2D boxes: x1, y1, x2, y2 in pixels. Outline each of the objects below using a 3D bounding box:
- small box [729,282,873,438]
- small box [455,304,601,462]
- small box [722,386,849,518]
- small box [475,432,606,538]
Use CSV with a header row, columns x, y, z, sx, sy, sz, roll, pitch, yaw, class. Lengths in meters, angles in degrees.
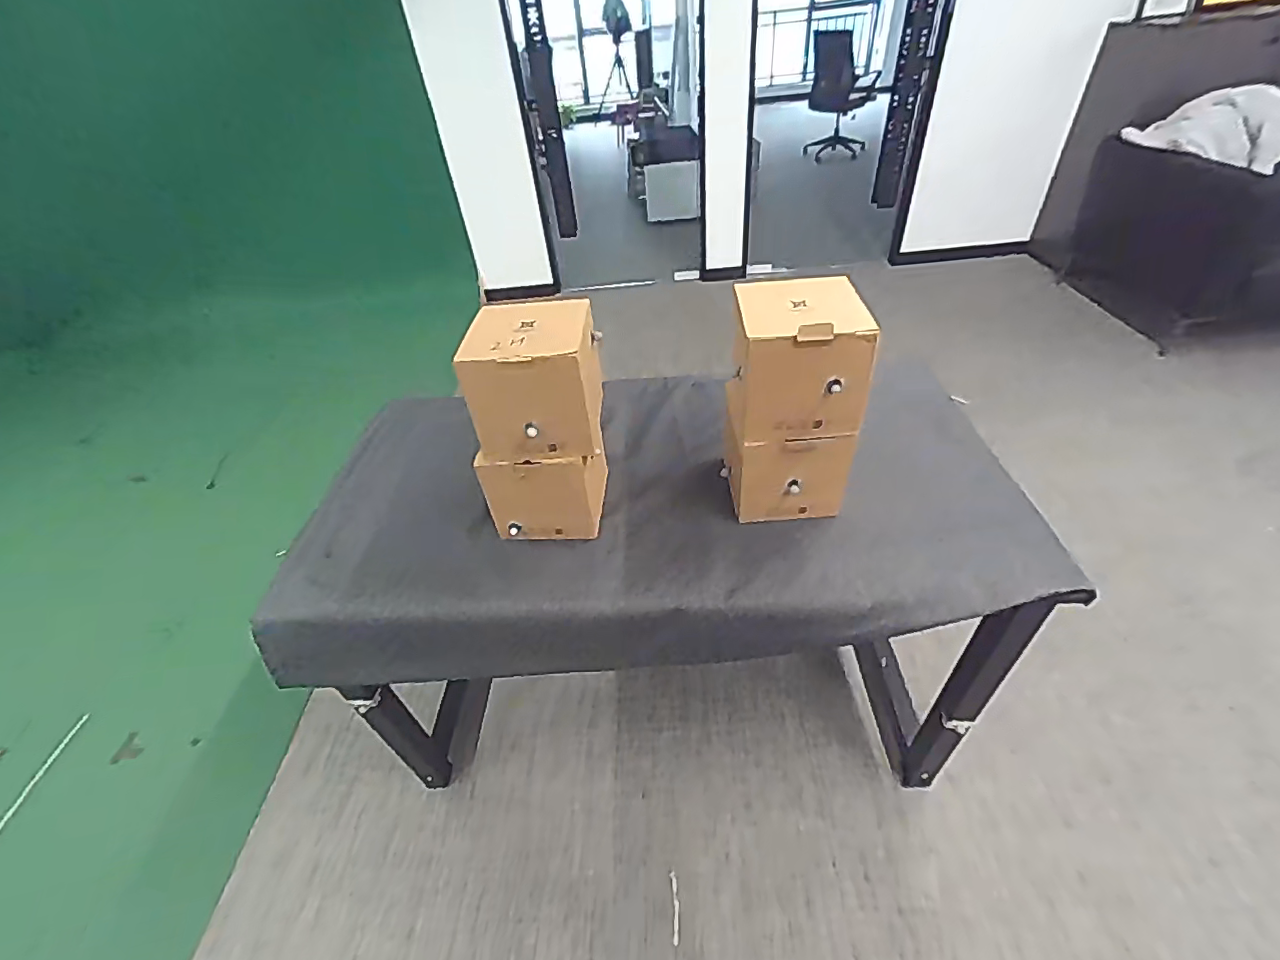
x,y,z,sx,sy,sz,roll,pitch,yaw,class
0.221,-0.172,0.794,0.168,0.176,0.179,-2,40,4,small box
-0.152,-0.146,0.810,0.168,0.176,0.179,-4,41,4,small box
0.230,-0.048,0.900,0.168,0.176,0.179,-5,41,2,small box
-0.155,-0.016,0.912,0.168,0.176,0.179,-1,40,6,small box
